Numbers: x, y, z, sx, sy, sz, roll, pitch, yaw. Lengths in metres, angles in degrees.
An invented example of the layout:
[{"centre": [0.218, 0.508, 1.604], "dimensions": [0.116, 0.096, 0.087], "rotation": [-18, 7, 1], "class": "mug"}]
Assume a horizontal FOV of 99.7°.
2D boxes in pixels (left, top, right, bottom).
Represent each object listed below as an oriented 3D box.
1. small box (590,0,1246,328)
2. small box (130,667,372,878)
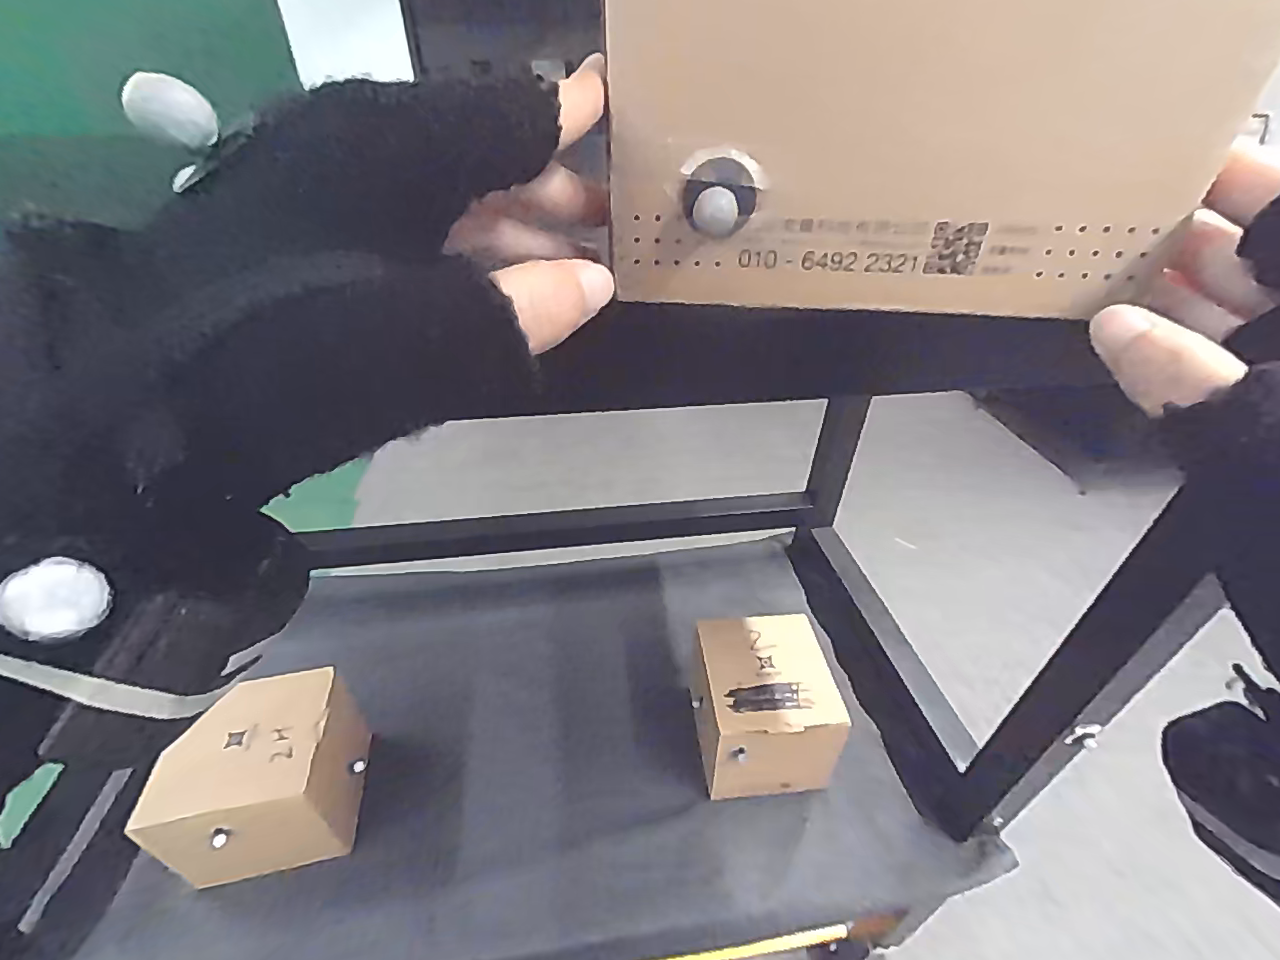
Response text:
[{"centre": [0.076, -0.165, 0.198], "dimensions": [0.168, 0.176, 0.179], "rotation": [4, 36, 4], "class": "small box"}, {"centre": [-0.469, 0.372, 0.690], "dimensions": [0.179, 0.176, 0.168], "rotation": [-7, 37, -11], "class": "small box"}]
